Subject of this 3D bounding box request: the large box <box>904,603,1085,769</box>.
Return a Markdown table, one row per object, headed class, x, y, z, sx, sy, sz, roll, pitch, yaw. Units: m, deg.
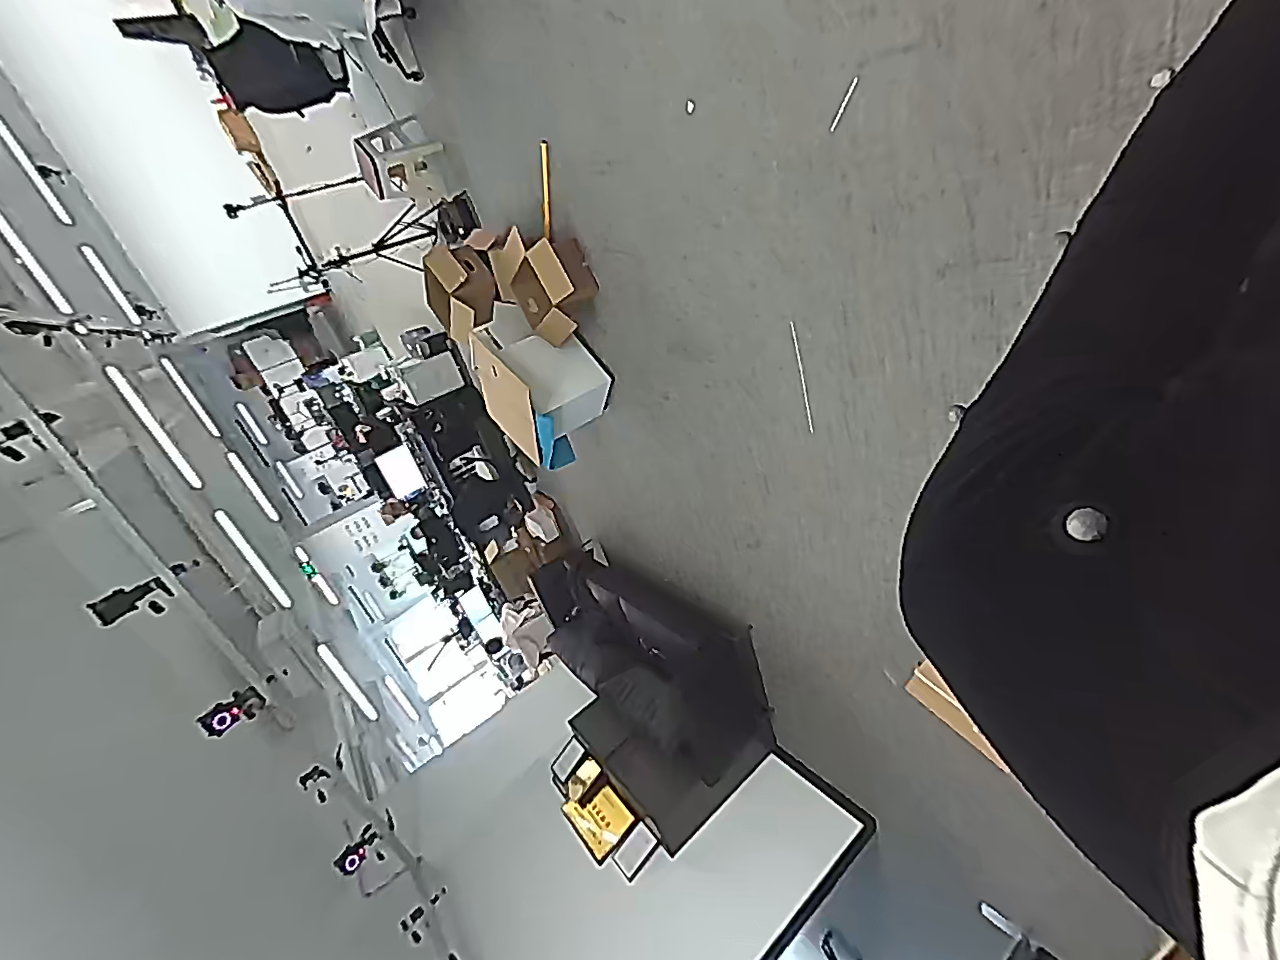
| class | x | y | z | sx | sy | sz | roll | pitch | yaw |
| --- | --- | --- | --- | --- | --- | --- | --- | --- | --- |
| large box | 1.262 | 0.734 | 1.959 | 0.408 | 0.320 | 0.320 | 39 | 148 | 33 |
